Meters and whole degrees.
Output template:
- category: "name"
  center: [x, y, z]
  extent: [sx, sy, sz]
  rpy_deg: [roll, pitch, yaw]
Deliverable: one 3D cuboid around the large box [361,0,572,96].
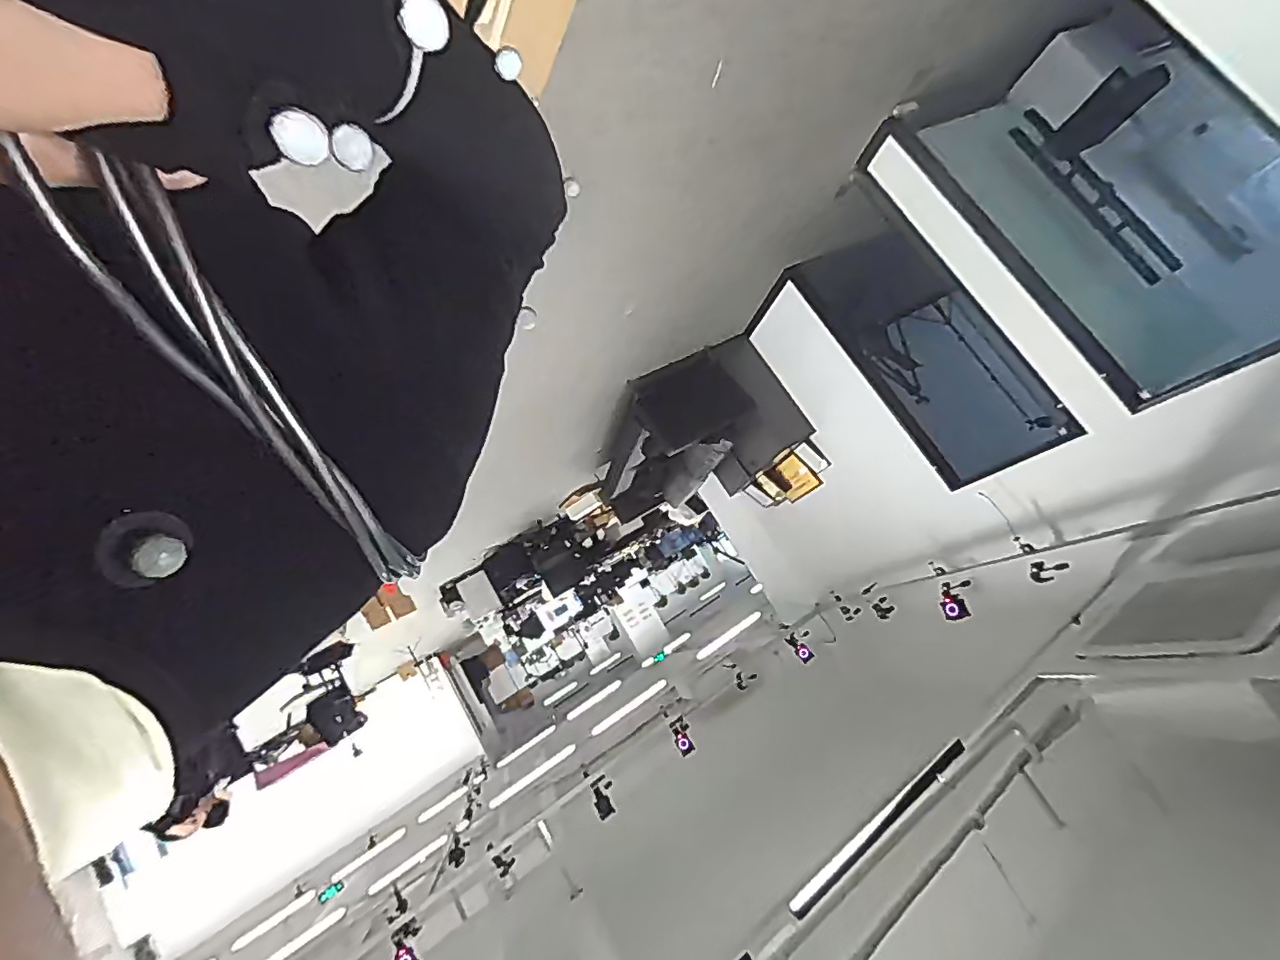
- category: "large box"
  center: [-0.311, -1.018, 0.974]
  extent: [0.320, 0.320, 0.408]
  rpy_deg: [-23, 166, -42]
